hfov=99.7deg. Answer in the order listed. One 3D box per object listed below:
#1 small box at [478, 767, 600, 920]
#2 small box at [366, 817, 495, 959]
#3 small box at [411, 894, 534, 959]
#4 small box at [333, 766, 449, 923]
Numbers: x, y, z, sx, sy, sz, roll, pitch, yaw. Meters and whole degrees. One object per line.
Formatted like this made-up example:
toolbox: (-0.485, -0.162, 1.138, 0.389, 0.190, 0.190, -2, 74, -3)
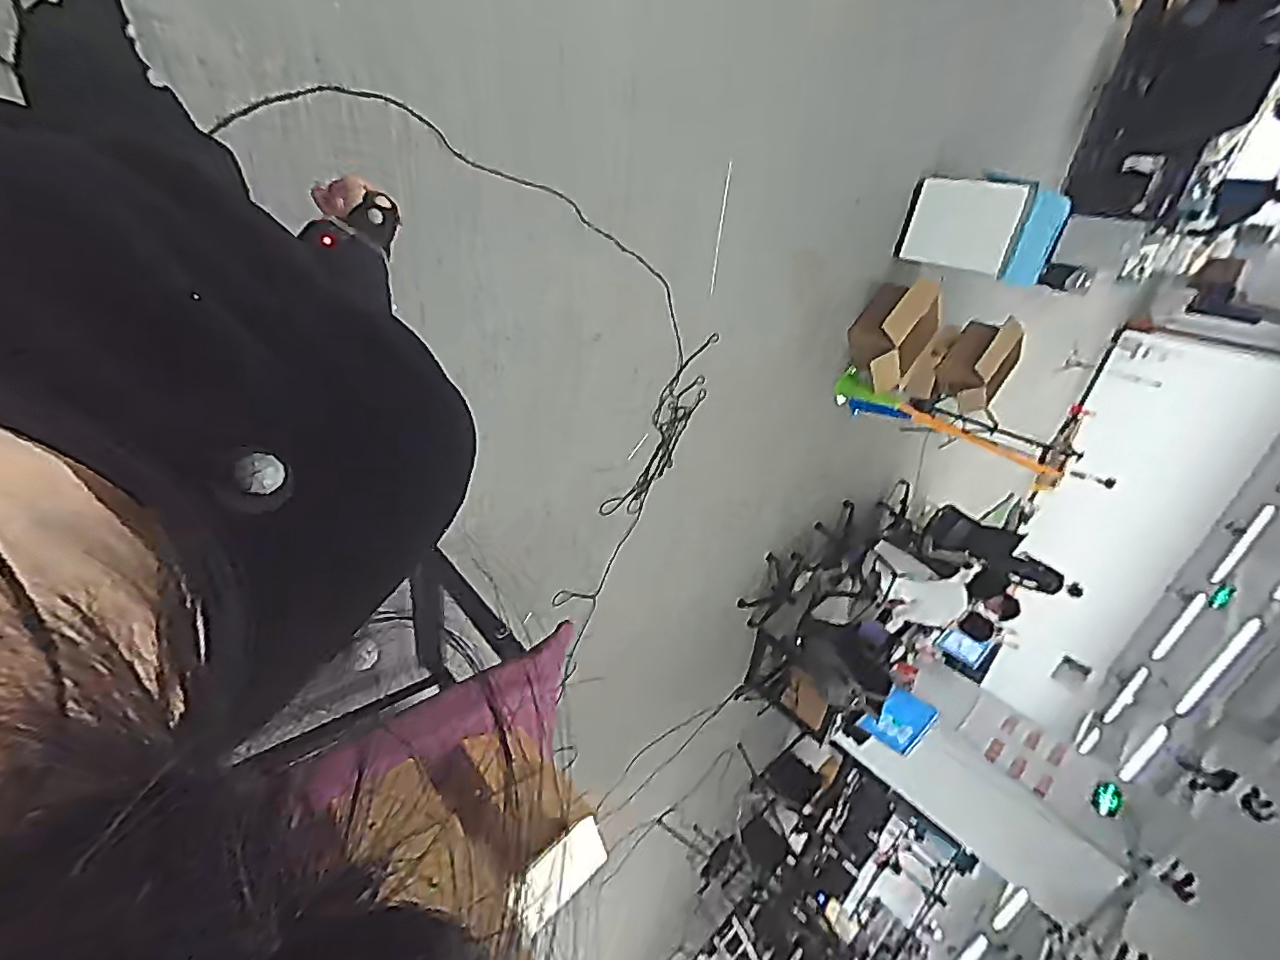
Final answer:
small box: (-0.218, 0.756, 1.145, 0.179, 0.176, 0.168, -2, 116, -46)
small box: (-0.381, 0.768, 0.978, 0.179, 0.176, 0.168, -16, 127, -39)
small box: (-0.273, 0.838, 0.875, 0.179, 0.176, 0.168, -15, 127, -39)
small box: (-0.495, 0.711, 1.081, 0.168, 0.176, 0.179, -15, 126, -40)
